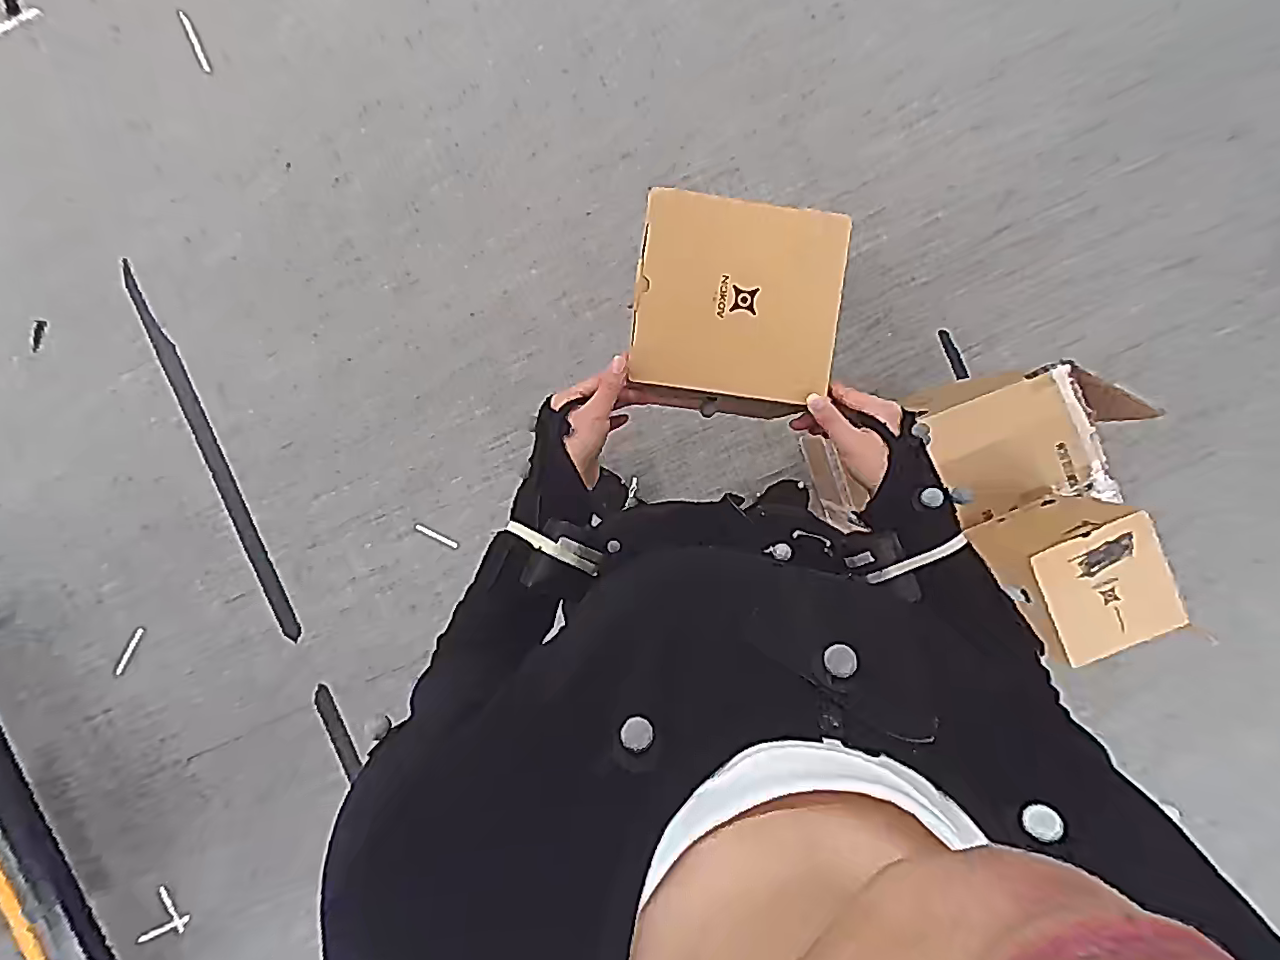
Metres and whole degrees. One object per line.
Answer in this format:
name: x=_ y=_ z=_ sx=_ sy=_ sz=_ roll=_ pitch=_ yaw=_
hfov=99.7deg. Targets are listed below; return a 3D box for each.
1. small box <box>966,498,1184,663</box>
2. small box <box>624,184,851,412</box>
small box: x=0.632 y=0.136 z=0.811 sx=0.168 sy=0.176 sz=0.179 roll=-24 pitch=95 yaw=4
small box: x=0.082 y=-0.162 z=0.540 sx=0.179 sy=0.176 sz=0.168 roll=7 pitch=93 yaw=-1
